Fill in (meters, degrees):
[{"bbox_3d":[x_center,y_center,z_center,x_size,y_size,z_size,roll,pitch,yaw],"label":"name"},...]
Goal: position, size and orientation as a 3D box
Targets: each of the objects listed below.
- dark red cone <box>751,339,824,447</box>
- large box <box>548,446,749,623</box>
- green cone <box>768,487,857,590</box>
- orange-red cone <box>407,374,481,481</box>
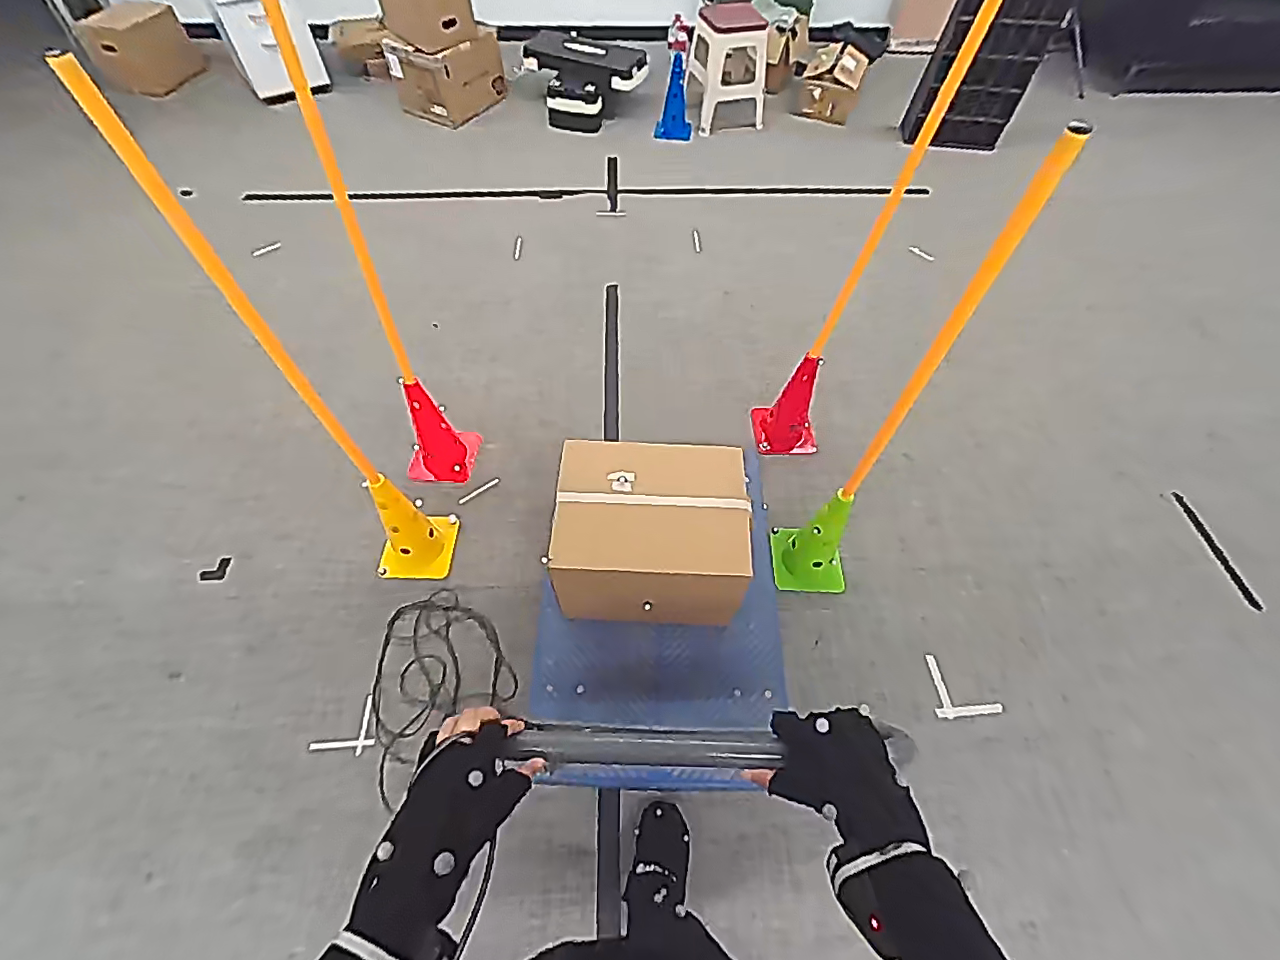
[{"bbox_3d":[0.496,-0.280,1.705,0.201,0.394,0.202,0,57,-4],"label":"dark red cone"},{"bbox_3d":[0.020,0.138,1.265,0.408,0.320,0.320,3,57,1],"label":"large box"},{"bbox_3d":[0.491,0.134,1.453,0.202,0.368,0.200,3,57,-1],"label":"green cone"},{"bbox_3d":[-0.631,-0.182,1.629,0.198,0.360,0.199,6,55,1],"label":"orange-red cone"}]
